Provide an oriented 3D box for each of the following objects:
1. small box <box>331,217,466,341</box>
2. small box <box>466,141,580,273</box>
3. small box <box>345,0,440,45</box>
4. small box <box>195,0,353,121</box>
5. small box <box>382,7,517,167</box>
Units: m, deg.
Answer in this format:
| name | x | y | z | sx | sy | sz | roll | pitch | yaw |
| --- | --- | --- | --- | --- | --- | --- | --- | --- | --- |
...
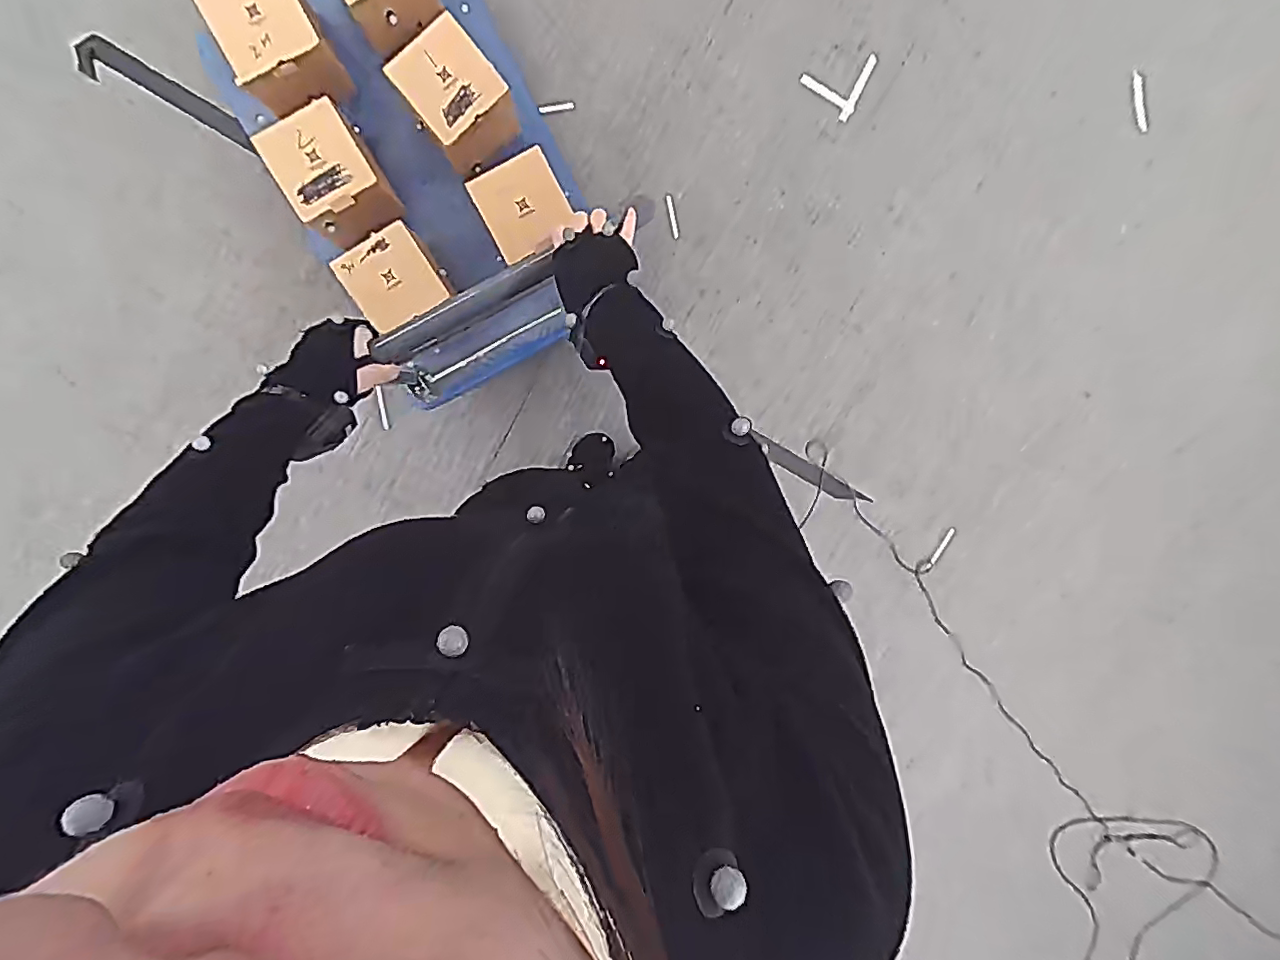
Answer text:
| name | x | y | z | sx | sy | sz | roll | pitch | yaw |
| --- | --- | --- | --- | --- | --- | --- | --- | --- | --- |
| small box | -0.492 | -0.407 | 1.134 | 0.168 | 0.176 | 0.179 | -33 | 100 | -1 |
| small box | -0.235 | -0.558 | 1.139 | 0.168 | 0.176 | 0.179 | -29 | 99 | -2 |
| small box | -0.517 | -0.998 | 1.046 | 0.168 | 0.176 | 0.179 | -32 | 100 | 0 |
| small box | -0.702 | -0.852 | 1.049 | 0.168 | 0.176 | 0.179 | -28 | 101 | -1 |
| small box | -0.371 | -0.772 | 1.093 | 0.168 | 0.176 | 0.179 | -41 | 99 | 1 |
